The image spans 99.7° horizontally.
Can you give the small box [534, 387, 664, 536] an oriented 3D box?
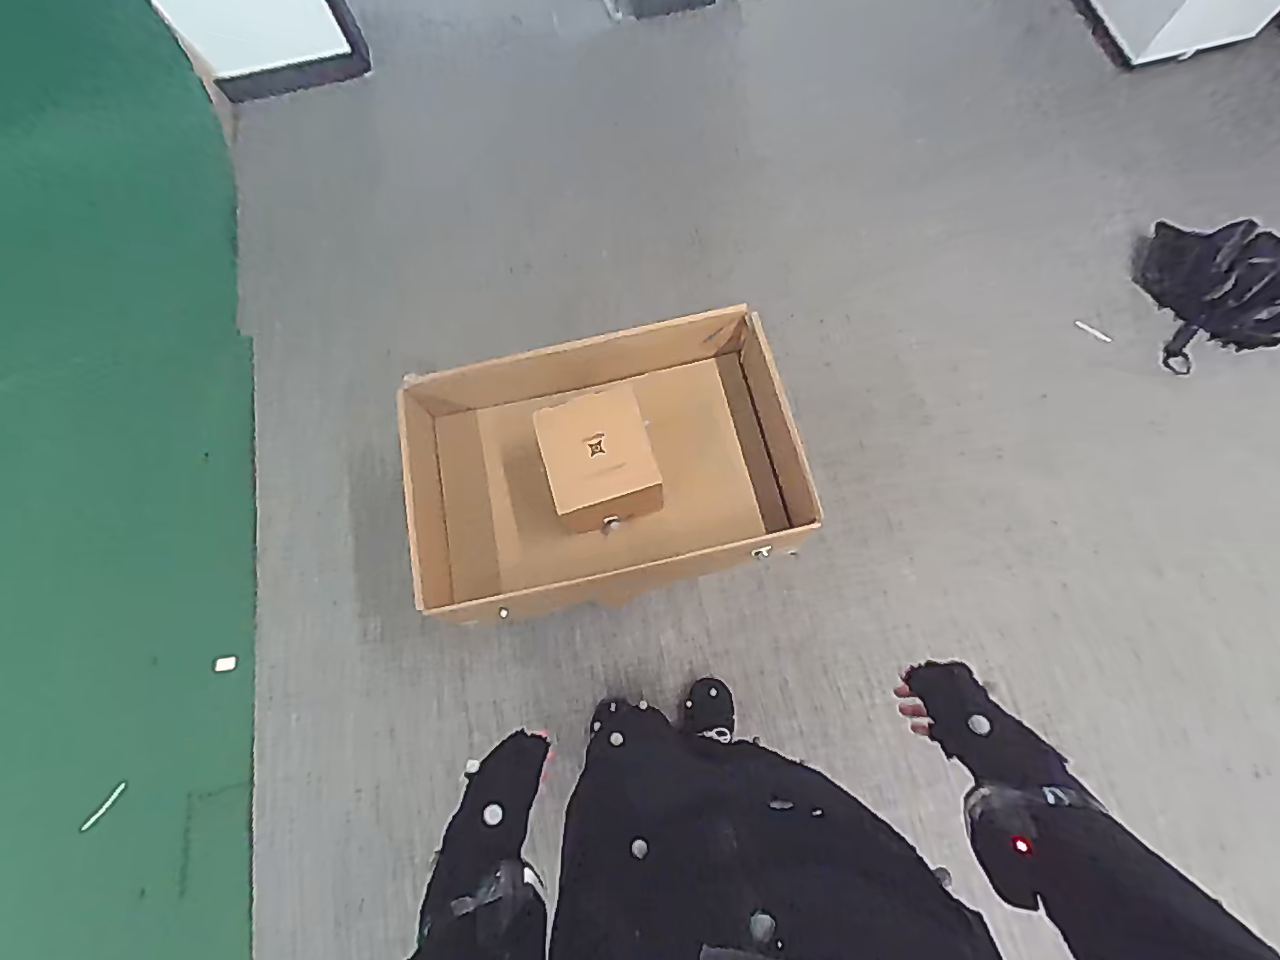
[{"bbox_3d":[-0.063,-0.024,0.901,0.168,0.176,0.179,-17,73,-2],"label":"small box"}]
